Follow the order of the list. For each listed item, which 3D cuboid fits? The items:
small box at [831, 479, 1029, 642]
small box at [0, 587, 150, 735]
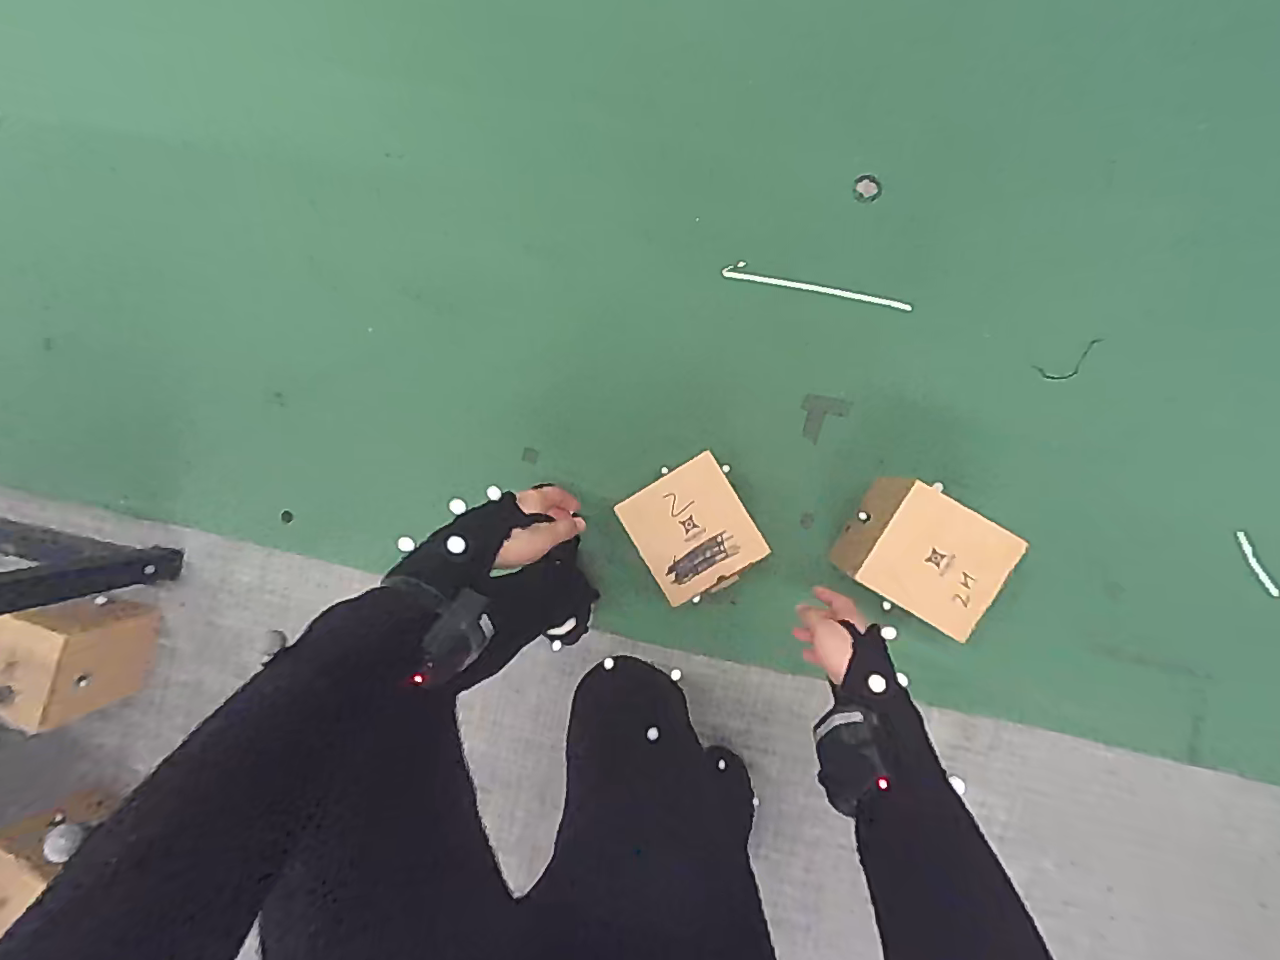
[{"bbox_3d":[0.421,0.111,0.823,0.179,0.176,0.168,31,95,3],"label":"small box"},{"bbox_3d":[-1.041,0.312,0.969,0.168,0.176,0.179,17,93,4],"label":"small box"}]
